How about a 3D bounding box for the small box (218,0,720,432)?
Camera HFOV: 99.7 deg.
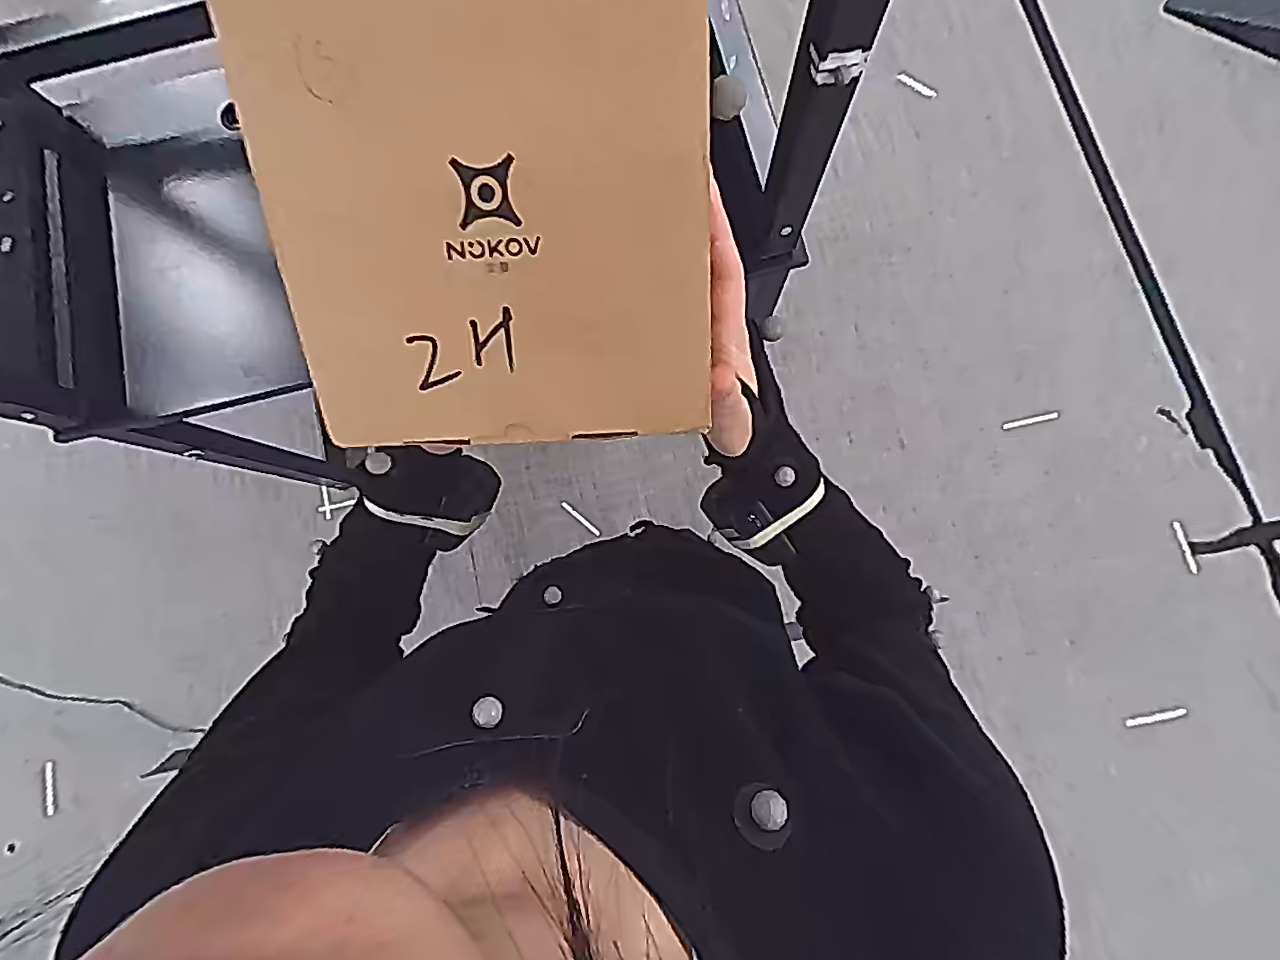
[{"bbox_3d":[-0.052,-0.133,0.270,0.168,0.176,0.179,-2,113,3],"label":"small box"}]
